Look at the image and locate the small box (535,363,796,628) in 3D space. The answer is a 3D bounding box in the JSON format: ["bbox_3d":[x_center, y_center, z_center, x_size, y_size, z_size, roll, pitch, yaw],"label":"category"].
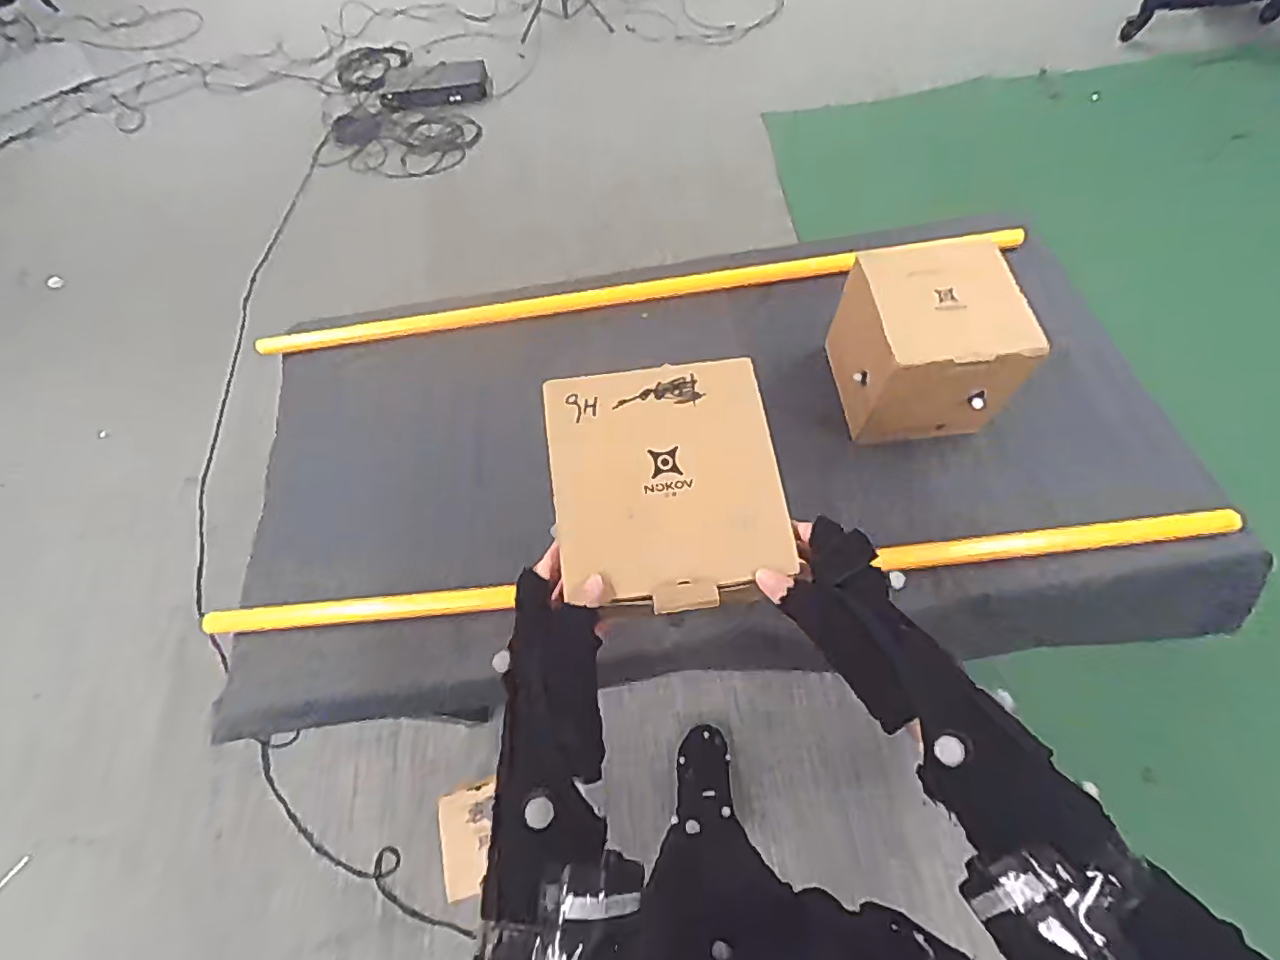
[{"bbox_3d":[0.015,0.027,0.469,0.168,0.176,0.179,-11,72,-3],"label":"small box"}]

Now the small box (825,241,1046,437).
[{"bbox_3d":[0.351,-0.166,0.685,0.168,0.176,0.179,-6,61,1],"label":"small box"}]

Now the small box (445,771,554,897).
[{"bbox_3d":[-0.285,0.715,1.112,0.168,0.176,0.179,-15,63,-2],"label":"small box"}]
